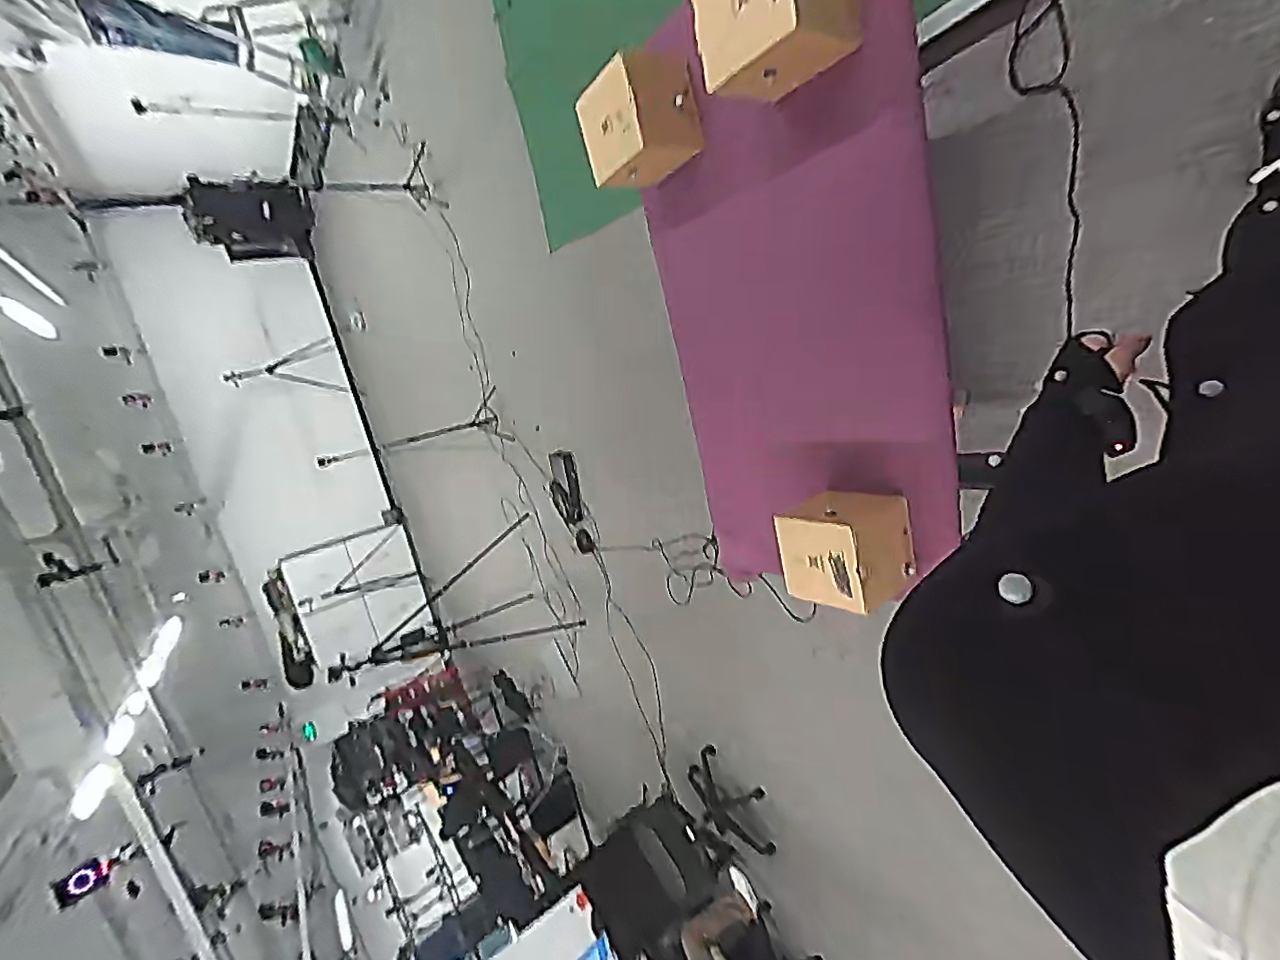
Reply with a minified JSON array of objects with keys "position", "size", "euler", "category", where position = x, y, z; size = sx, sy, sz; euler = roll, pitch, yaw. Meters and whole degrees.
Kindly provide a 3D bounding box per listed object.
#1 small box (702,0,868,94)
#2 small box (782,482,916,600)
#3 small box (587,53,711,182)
[{"position":[0.222,-0.733,0.840],"size":[0.179,0.176,0.168],"euler":[6,114,55],"category":"small box"},{"position":[0.409,0.108,1.046],"size":[0.179,0.176,0.168],"euler":[5,111,57],"category":"small box"},{"position":[0.020,-0.748,1.132],"size":[0.179,0.176,0.168],"euler":[1,112,55],"category":"small box"}]
